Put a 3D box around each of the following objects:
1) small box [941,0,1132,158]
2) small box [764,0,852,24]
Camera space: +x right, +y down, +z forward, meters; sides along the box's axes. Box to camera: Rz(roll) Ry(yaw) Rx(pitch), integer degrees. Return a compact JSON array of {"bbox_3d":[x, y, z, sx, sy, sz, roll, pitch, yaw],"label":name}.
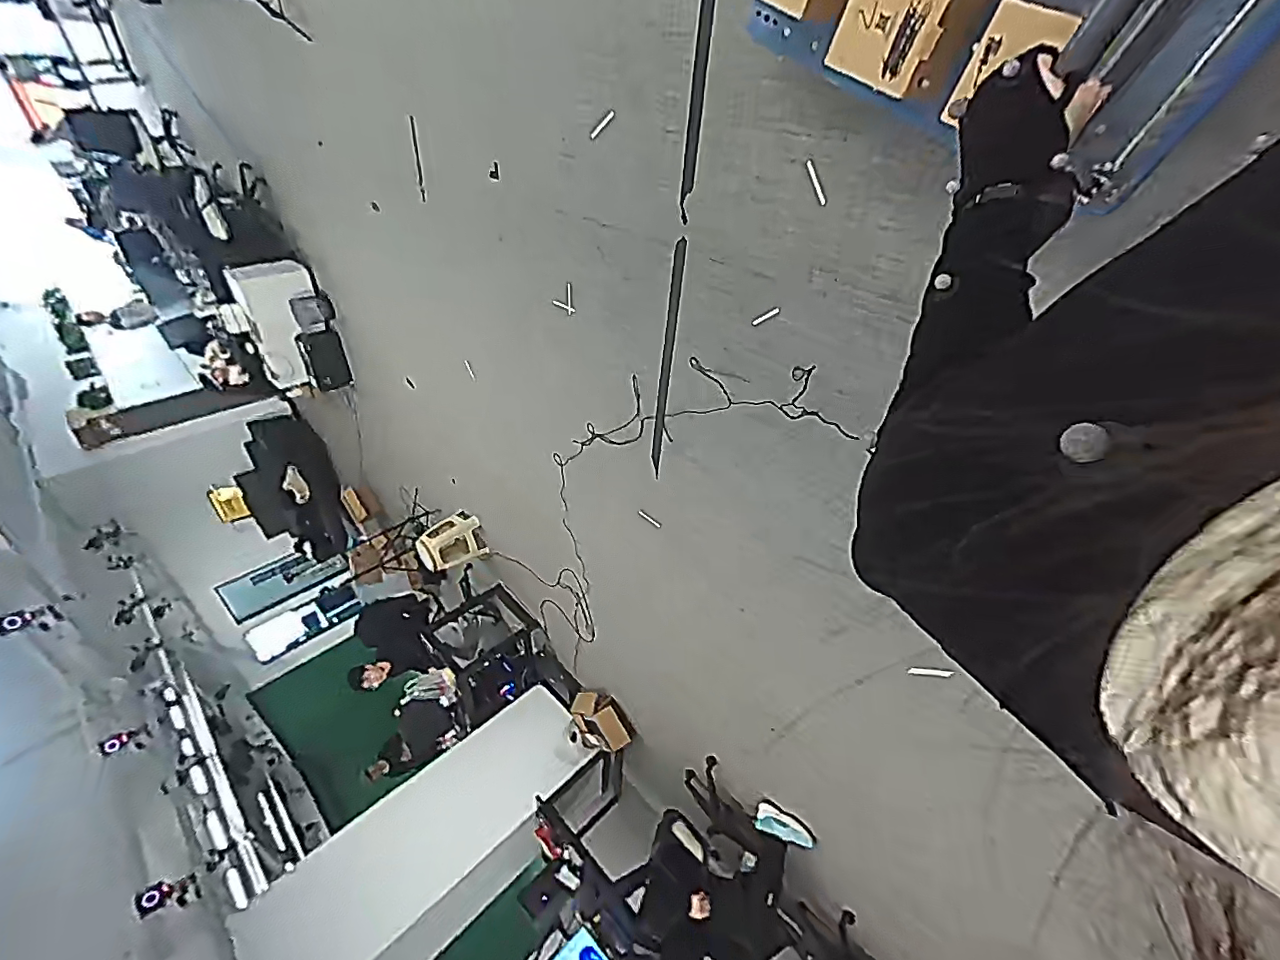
[{"bbox_3d":[0.647,-0.653,0.884,0.179,0.176,0.168,42,139,22],"label":"small box"},{"bbox_3d":[0.320,-1.002,1.027,0.179,0.176,0.168,45,142,18],"label":"small box"}]
